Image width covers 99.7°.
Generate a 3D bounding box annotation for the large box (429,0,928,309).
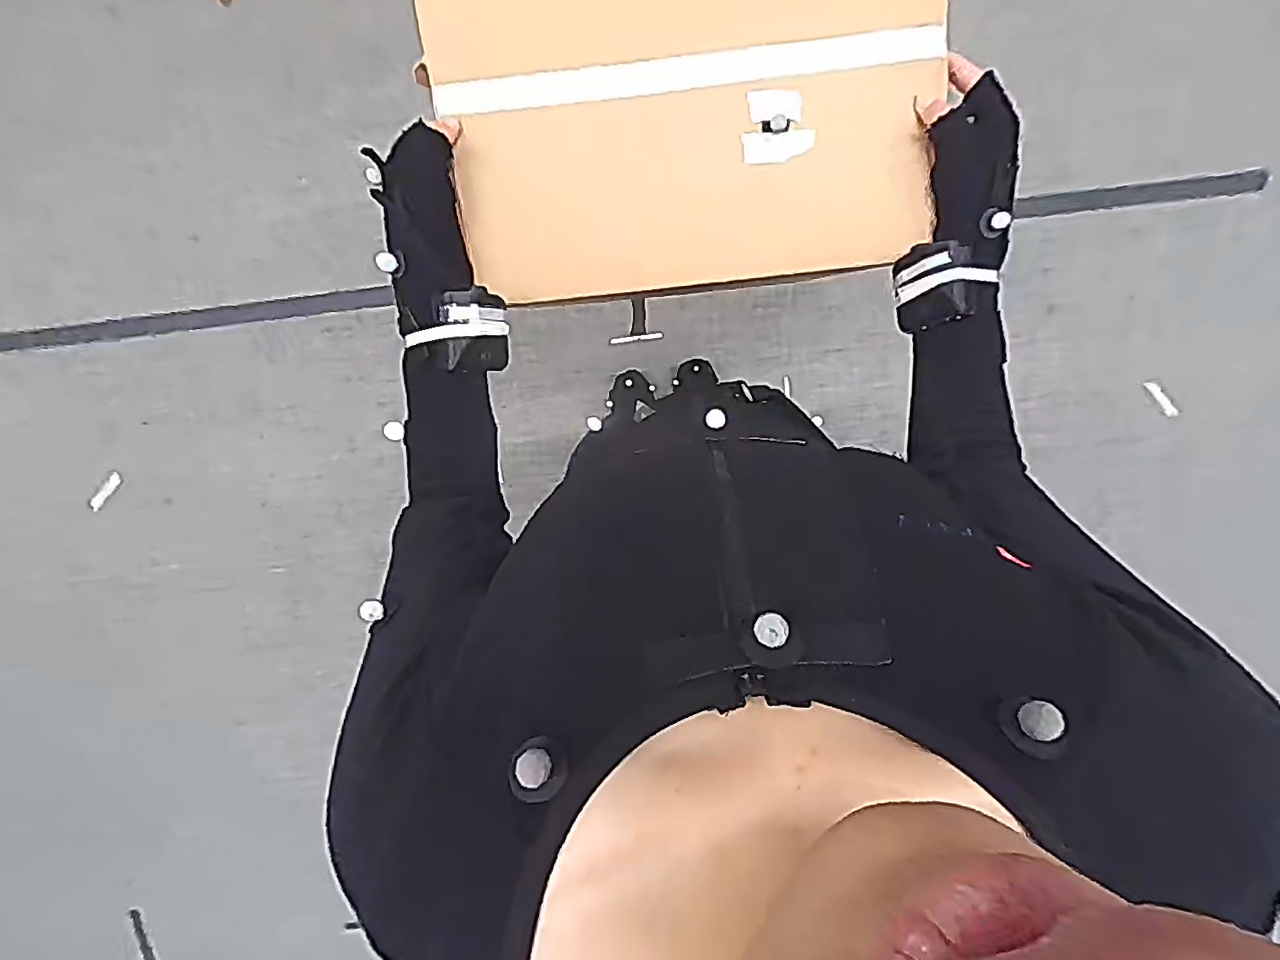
[{"bbox_3d":[0.033,-0.372,0.591,0.408,0.320,0.320,-6,108,0],"label":"large box"}]
